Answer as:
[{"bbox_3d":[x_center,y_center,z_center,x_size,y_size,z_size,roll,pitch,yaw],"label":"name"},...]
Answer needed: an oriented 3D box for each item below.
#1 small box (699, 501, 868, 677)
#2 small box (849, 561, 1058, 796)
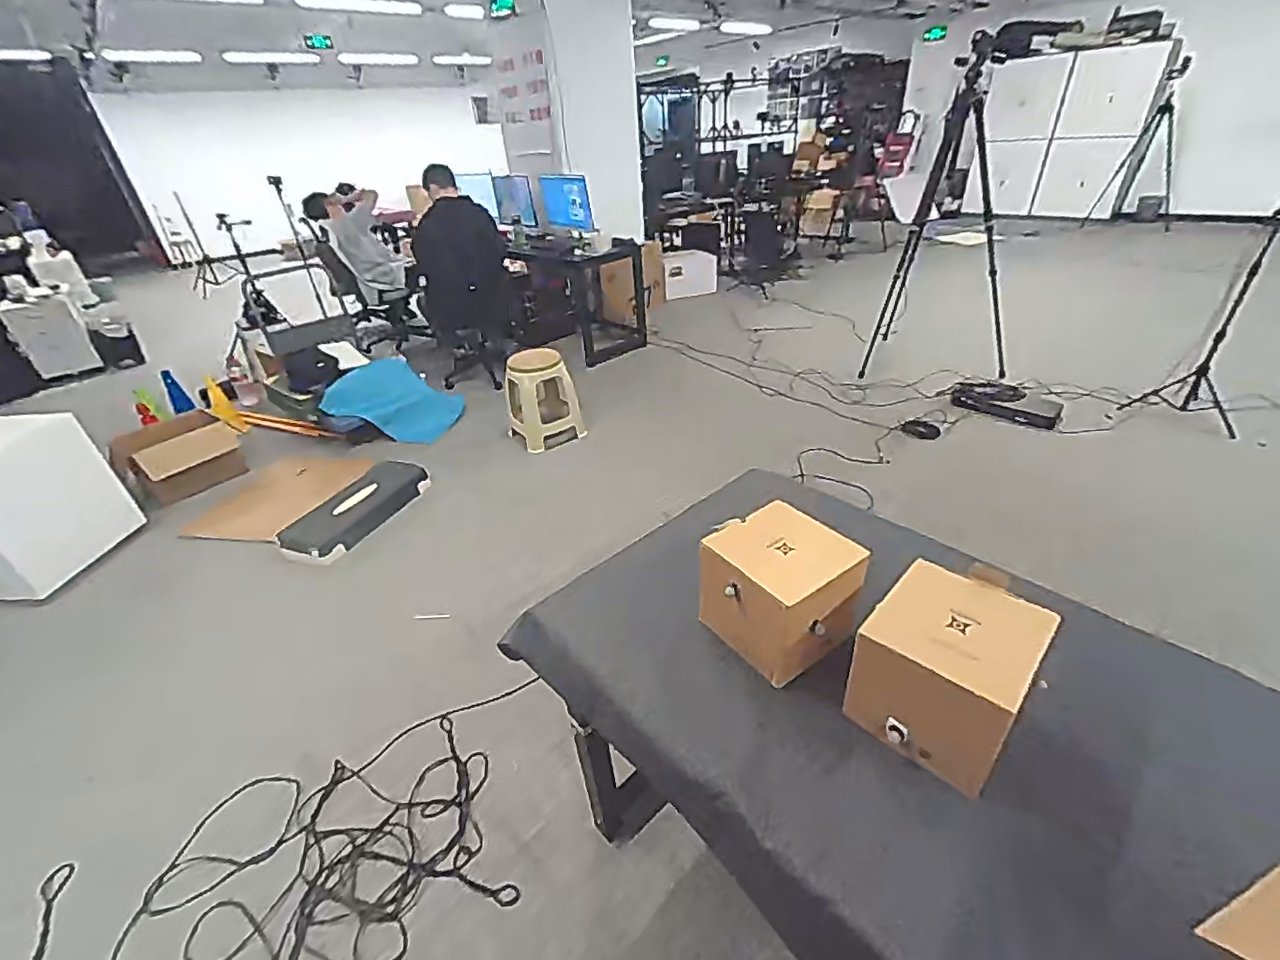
[{"bbox_3d":[0.206,0.165,0.809,0.168,0.176,0.179,-23,36,-27],"label":"small box"},{"bbox_3d":[0.378,0.238,0.674,0.168,0.176,0.179,24,42,39],"label":"small box"}]
